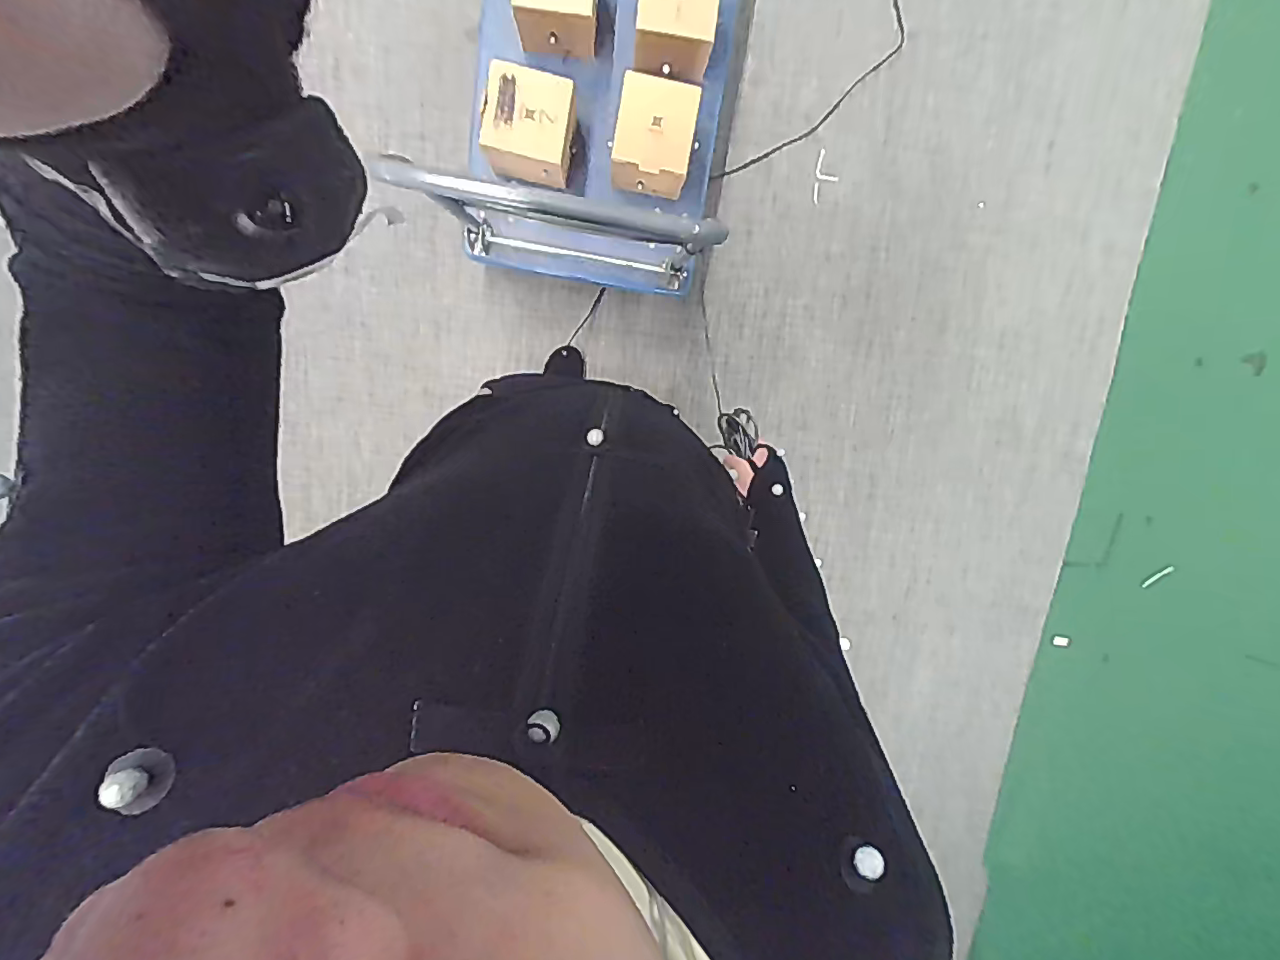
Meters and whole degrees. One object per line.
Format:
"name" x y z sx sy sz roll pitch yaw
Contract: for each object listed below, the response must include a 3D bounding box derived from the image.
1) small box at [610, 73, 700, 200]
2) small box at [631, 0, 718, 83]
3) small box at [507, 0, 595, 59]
"small box" 0.026 -0.762 1.217 0.168 0.176 0.179 10 102 -5
"small box" 0.073 -1.006 1.166 0.168 0.176 0.179 7 103 -4
"small box" -0.180 -1.037 1.144 0.168 0.176 0.179 5 102 -5
